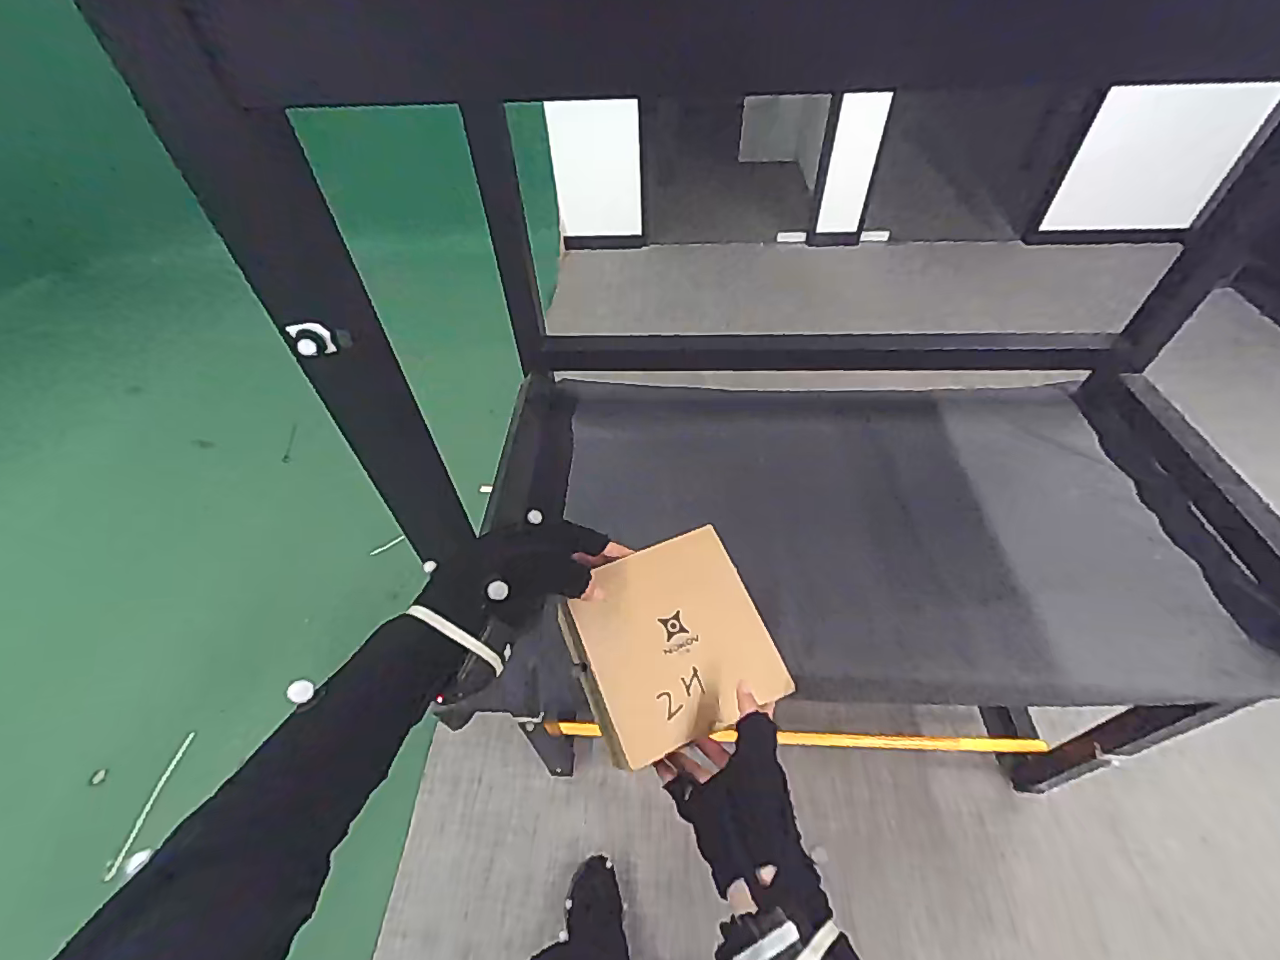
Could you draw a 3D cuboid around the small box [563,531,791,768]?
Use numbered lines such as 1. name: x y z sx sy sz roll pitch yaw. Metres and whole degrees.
1. small box: 0.021 0.183 0.573 0.168 0.176 0.179 -19 67 -16
